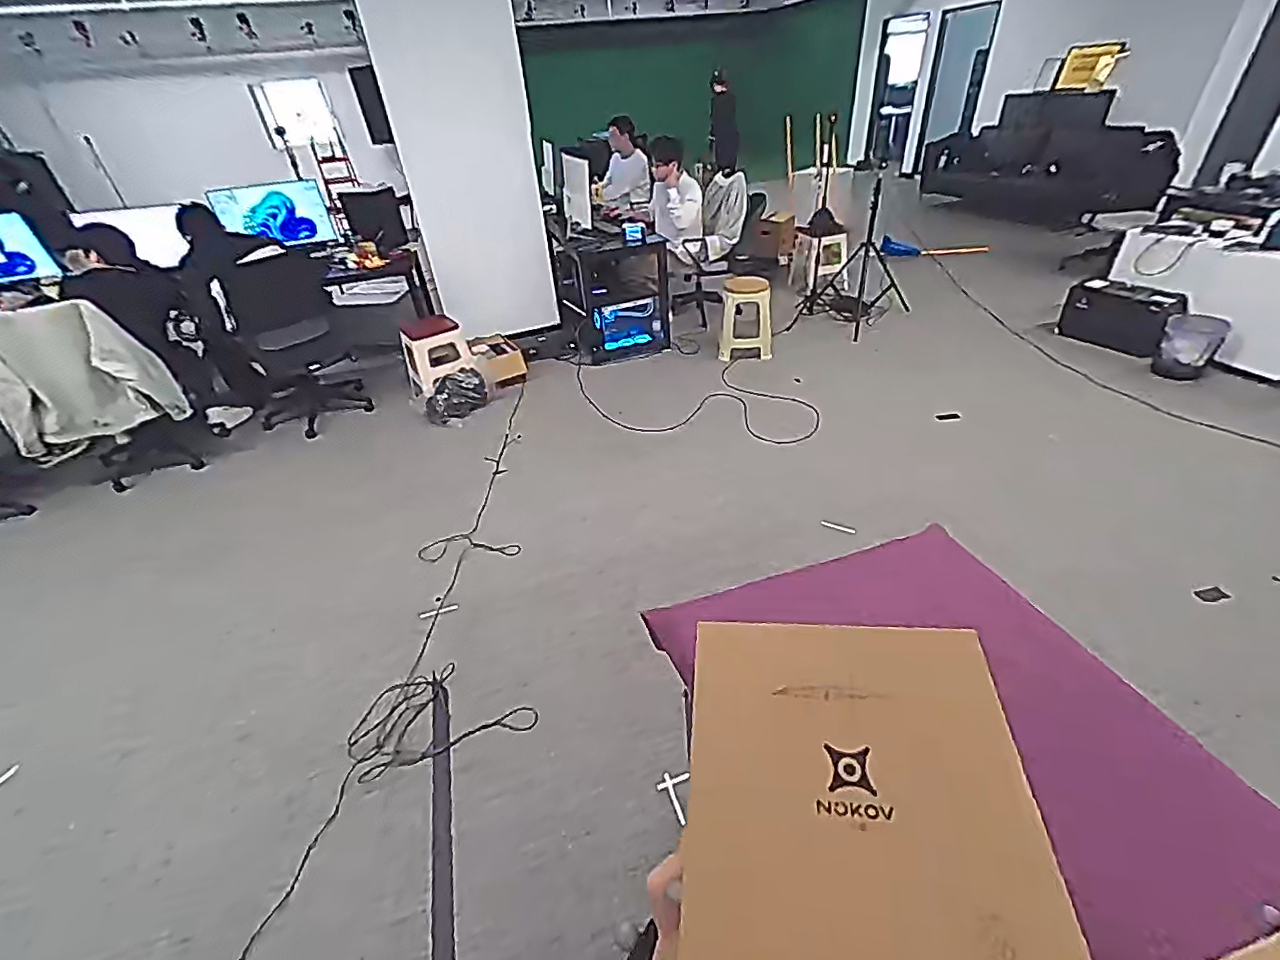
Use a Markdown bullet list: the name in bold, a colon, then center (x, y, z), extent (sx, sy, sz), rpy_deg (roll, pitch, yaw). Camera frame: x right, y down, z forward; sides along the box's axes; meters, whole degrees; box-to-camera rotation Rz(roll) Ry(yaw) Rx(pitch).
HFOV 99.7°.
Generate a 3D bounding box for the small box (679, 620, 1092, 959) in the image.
- **small box**: center (0.117, 0.207, 0.326), extent (0.168, 0.176, 0.179), rpy_deg (0, 42, 9)
